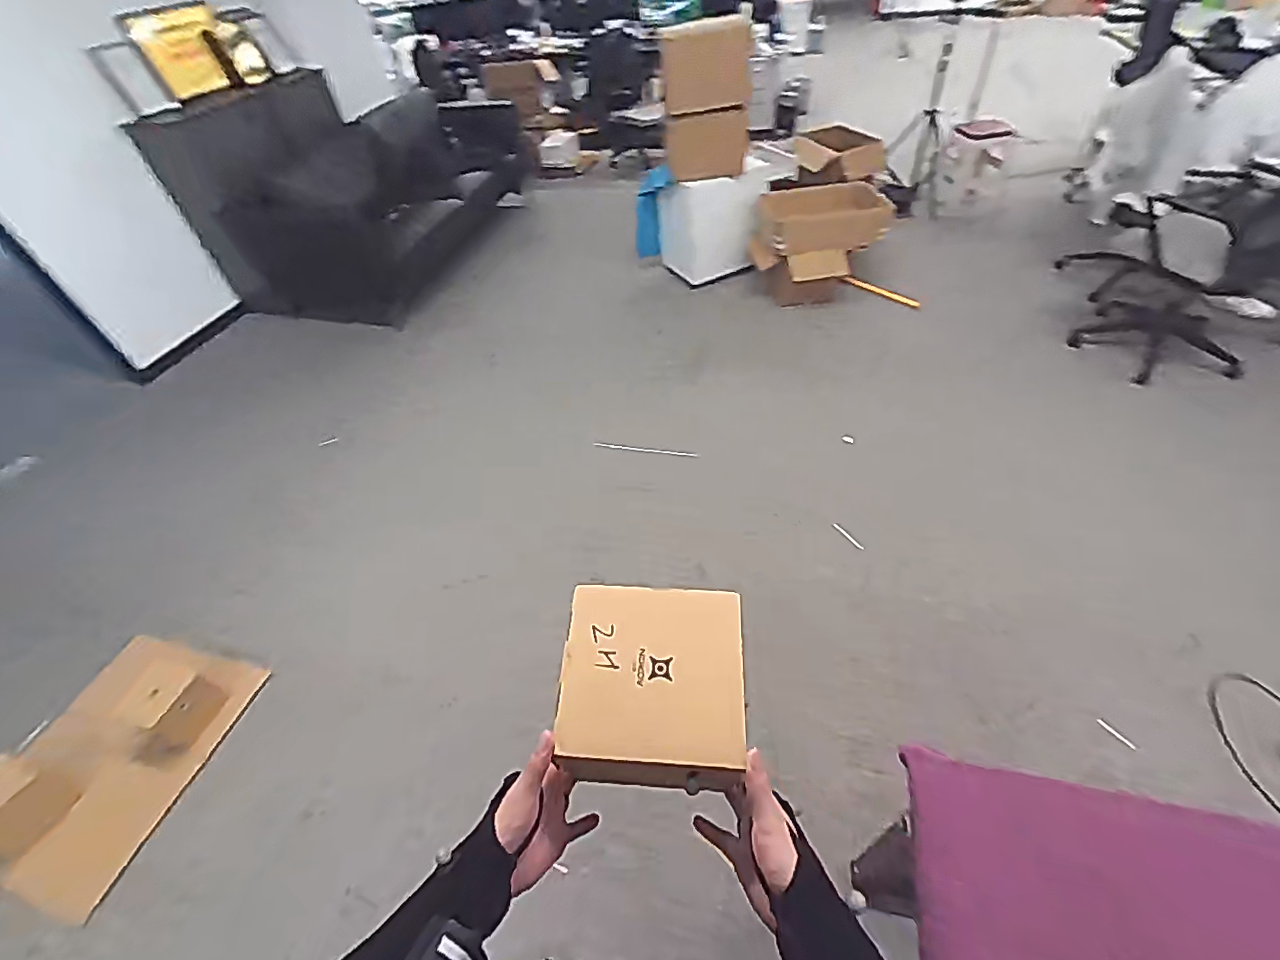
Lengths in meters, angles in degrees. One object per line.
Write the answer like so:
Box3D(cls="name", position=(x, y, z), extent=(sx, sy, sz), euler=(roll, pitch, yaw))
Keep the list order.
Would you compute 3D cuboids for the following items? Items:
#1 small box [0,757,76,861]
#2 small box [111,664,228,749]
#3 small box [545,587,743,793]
Box3D(cls="small box", position=(-1.733, 0.907, 1.491), extent=(0.168, 0.176, 0.179), euler=(15, 50, 20))
Box3D(cls="small box", position=(-1.429, 0.698, 1.657), extent=(0.168, 0.176, 0.179), euler=(9, 49, 15))
Box3D(cls="small box", position=(0.011, 0.229, 0.582), extent=(0.179, 0.176, 0.168), euler=(1, 53, 4))
